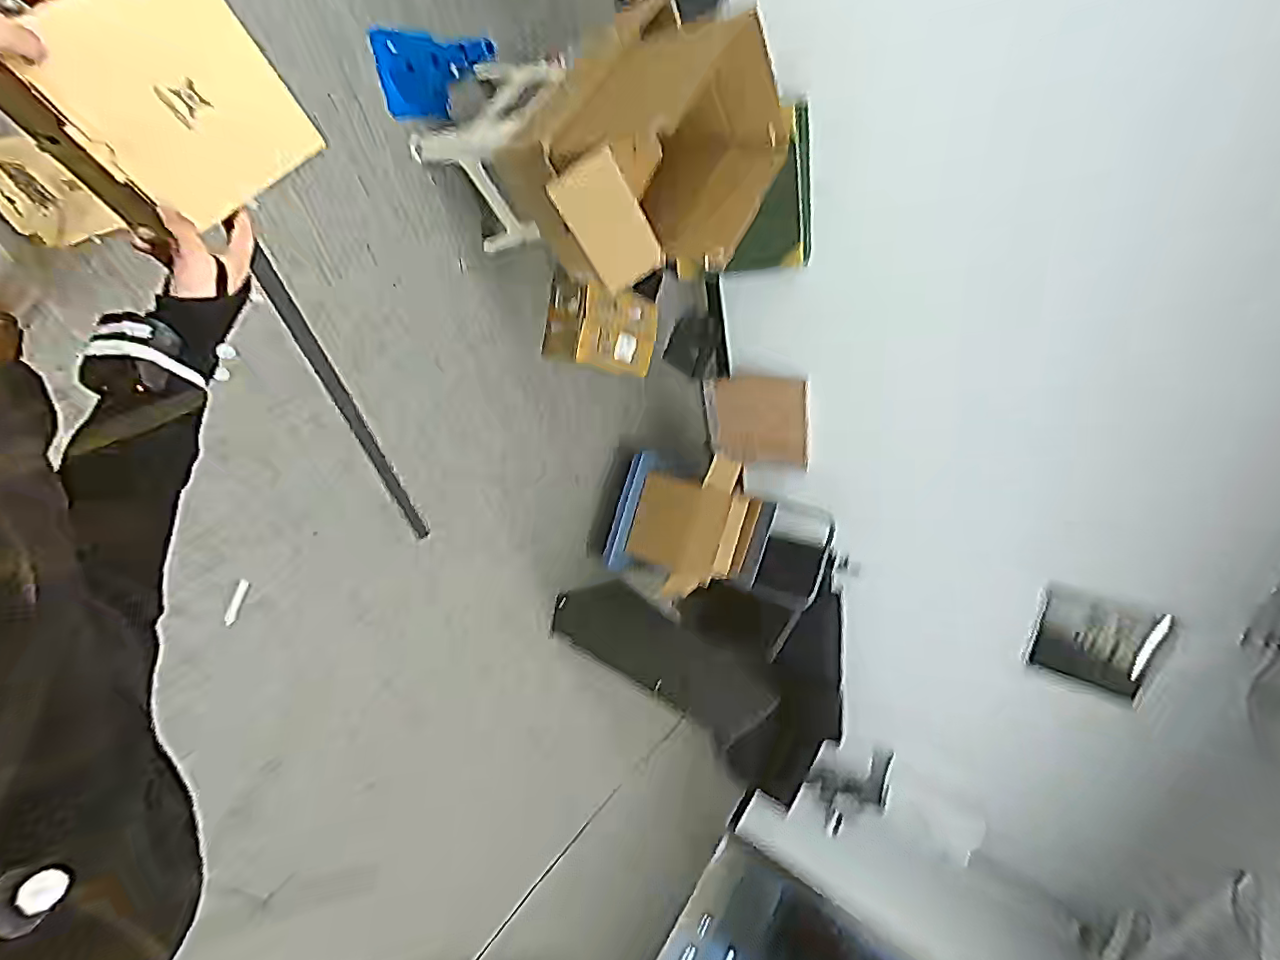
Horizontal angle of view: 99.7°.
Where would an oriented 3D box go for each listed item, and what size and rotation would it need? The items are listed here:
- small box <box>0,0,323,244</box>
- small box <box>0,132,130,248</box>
[{"bbox_3d":[-0.468,-0.360,0.524,0.179,0.176,0.168,-56,146,-20],"label":"small box"},{"bbox_3d":[-1.093,-0.544,1.010,0.179,0.176,0.168,-46,137,-34],"label":"small box"}]
